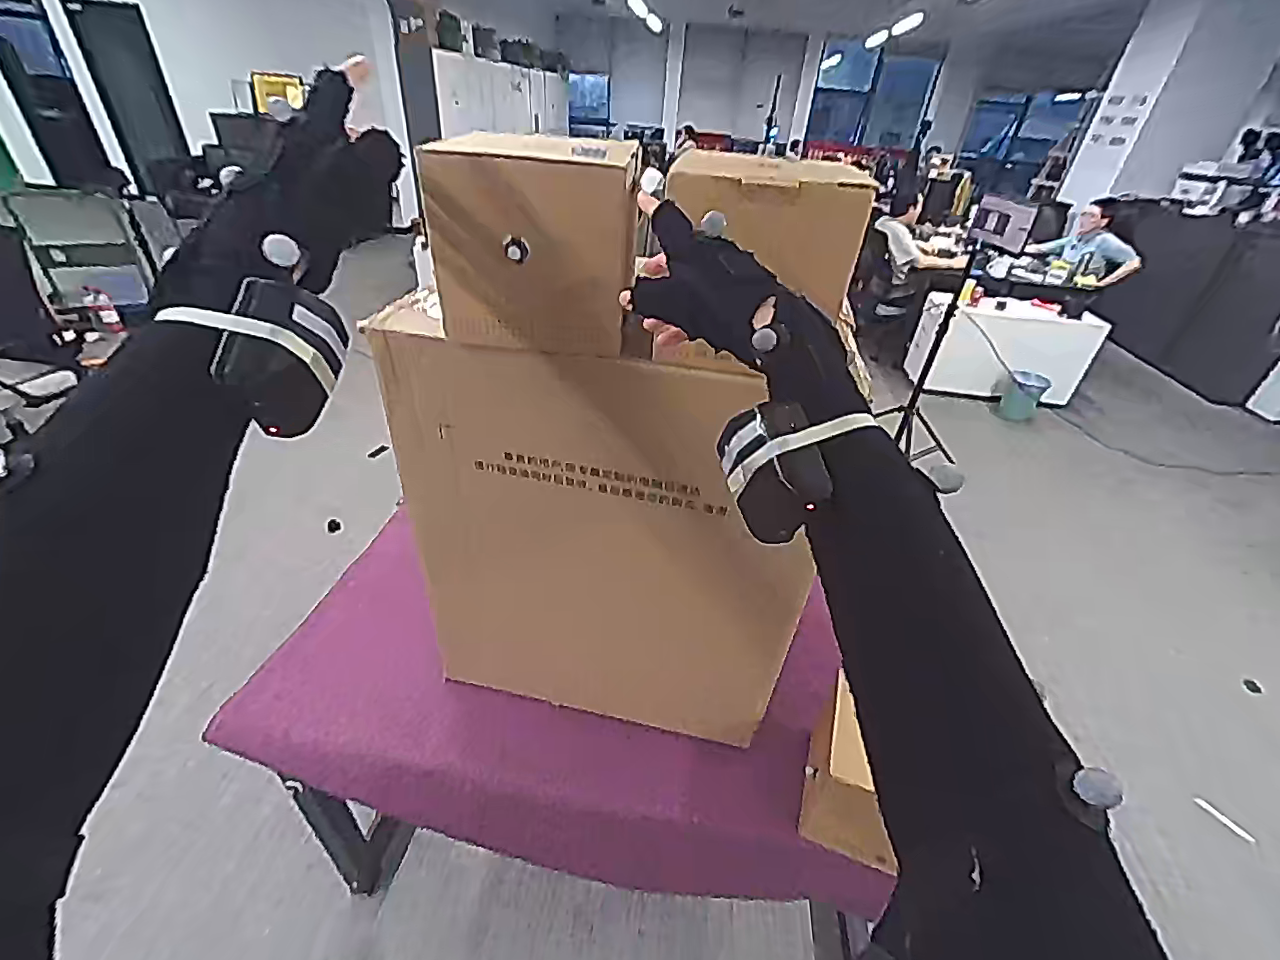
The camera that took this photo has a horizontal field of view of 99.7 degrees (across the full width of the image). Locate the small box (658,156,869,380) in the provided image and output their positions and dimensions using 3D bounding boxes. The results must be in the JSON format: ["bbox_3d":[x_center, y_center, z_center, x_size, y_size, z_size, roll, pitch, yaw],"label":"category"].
[{"bbox_3d":[0.113,-0.216,0.546,0.168,0.176,0.179,9,37,6],"label":"small box"}]

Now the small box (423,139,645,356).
[{"bbox_3d":[-0.091,-0.237,0.552,0.179,0.176,0.168,5,36,2],"label":"small box"}]

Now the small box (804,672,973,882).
[{"bbox_3d":[0.337,0.414,0.760,0.168,0.176,0.179,16,34,14],"label":"small box"}]
